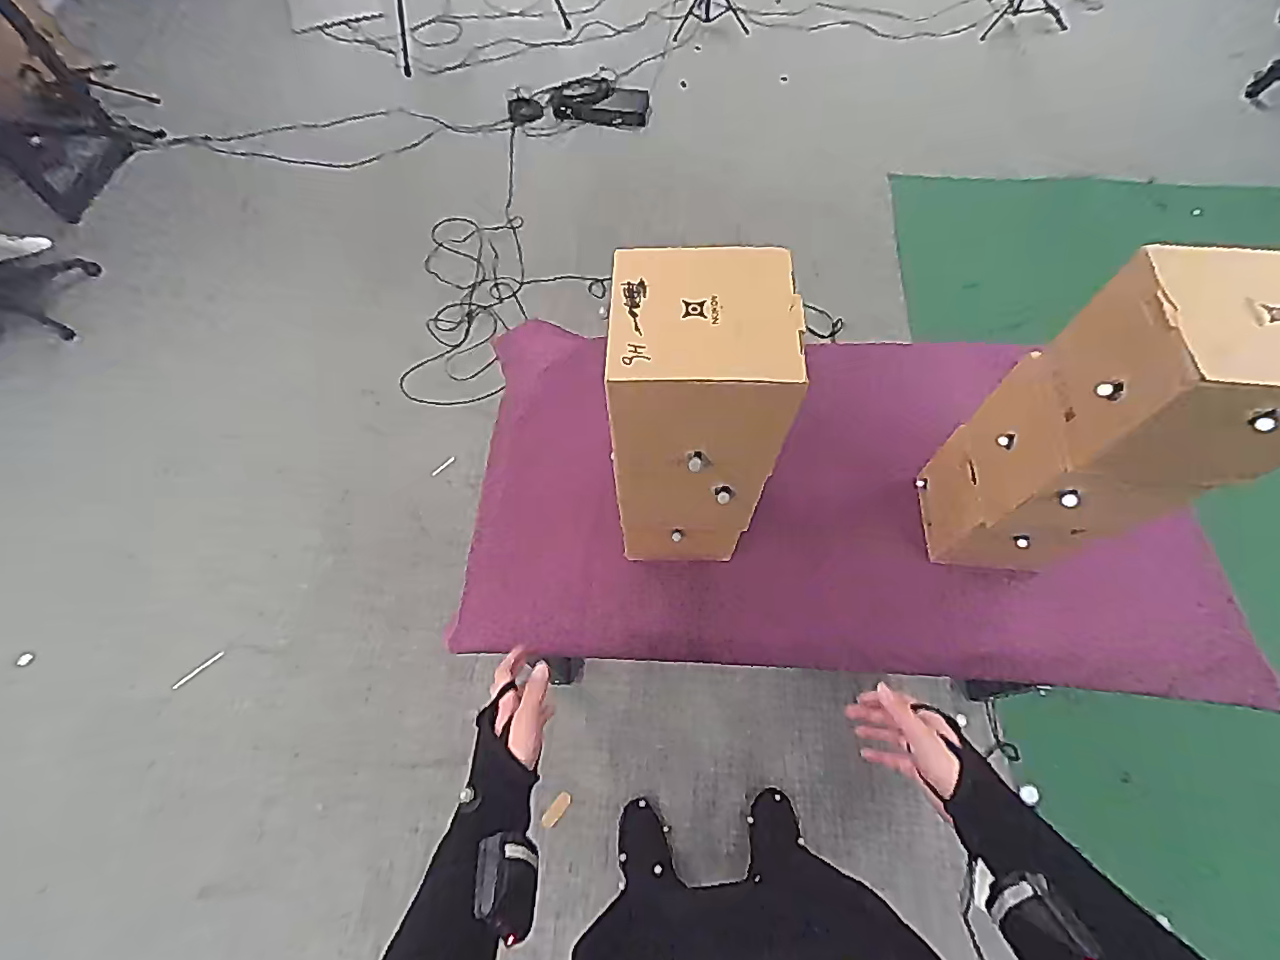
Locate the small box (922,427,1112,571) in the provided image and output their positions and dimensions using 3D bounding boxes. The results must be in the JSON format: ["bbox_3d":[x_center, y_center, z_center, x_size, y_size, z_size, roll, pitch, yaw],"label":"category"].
[{"bbox_3d":[0.565,0.035,0.846,0.179,0.176,0.168,5,62,4],"label":"small box"}]

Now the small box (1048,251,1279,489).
[{"bbox_3d":[0.558,-0.103,0.549,0.179,0.176,0.168,6,63,5],"label":"small box"}]

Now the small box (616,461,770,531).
[{"bbox_3d":[0.065,-0.039,0.715,0.179,0.176,0.168,2,62,3],"label":"small box"}]

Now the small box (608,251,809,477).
[{"bbox_3d":[0.063,-0.113,0.569,0.179,0.176,0.168,2,62,2],"label":"small box"}]

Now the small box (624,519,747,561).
[{"bbox_3d":[0.067,0.025,0.868,0.179,0.176,0.168,0,62,2],"label":"small box"}]
